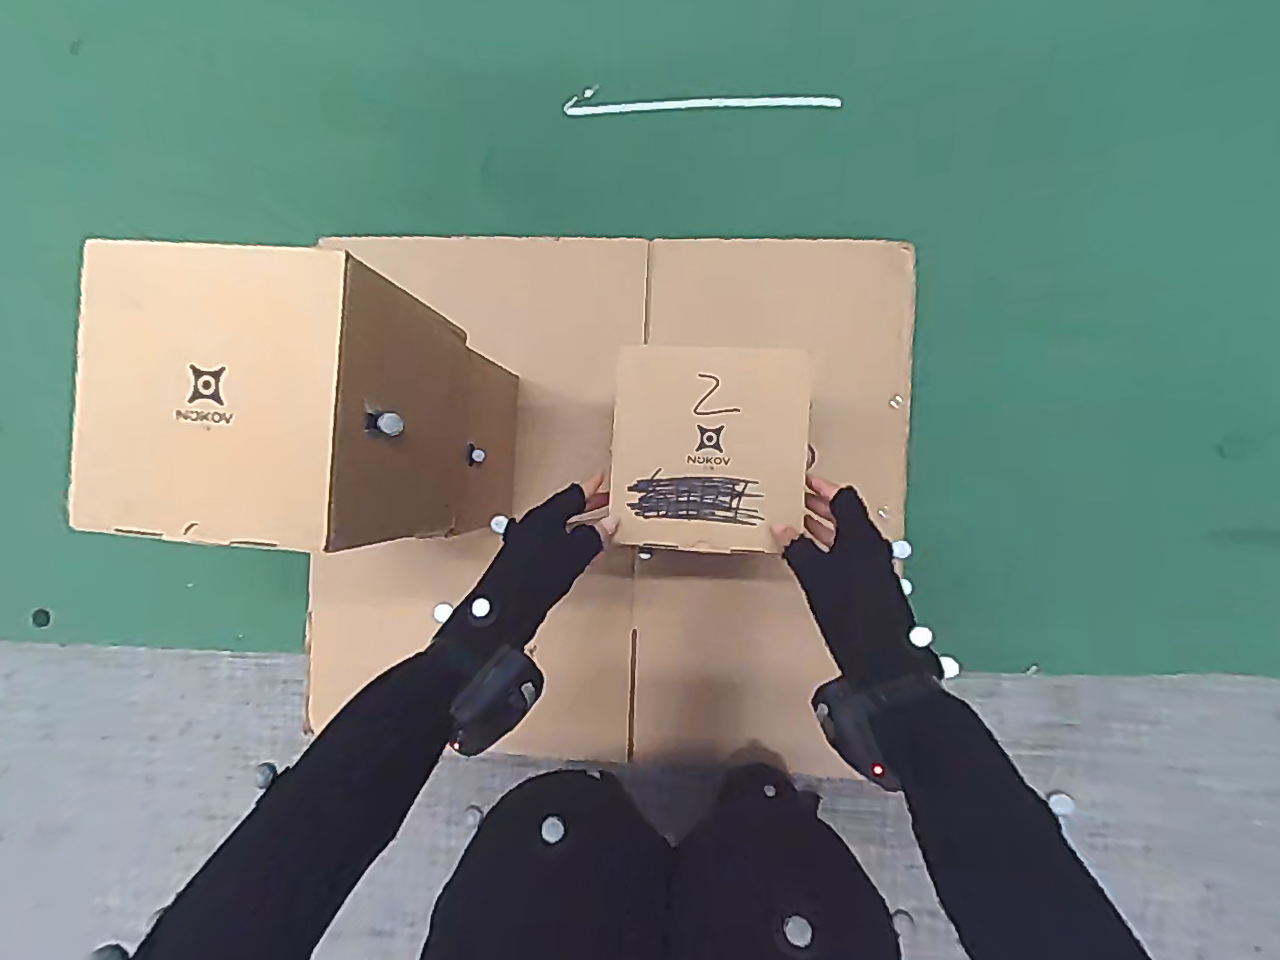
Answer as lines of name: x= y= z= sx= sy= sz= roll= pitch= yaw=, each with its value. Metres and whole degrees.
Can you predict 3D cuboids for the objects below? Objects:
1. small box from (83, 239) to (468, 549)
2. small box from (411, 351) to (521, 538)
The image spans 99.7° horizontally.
small box: x=-0.240 y=-0.052 z=0.400 sx=0.168 sy=0.176 sz=0.179 roll=5 pitch=90 yaw=5
small box: x=-0.231 y=-0.040 z=0.562 sx=0.168 sy=0.176 sz=0.179 roll=4 pitch=89 yaw=6
